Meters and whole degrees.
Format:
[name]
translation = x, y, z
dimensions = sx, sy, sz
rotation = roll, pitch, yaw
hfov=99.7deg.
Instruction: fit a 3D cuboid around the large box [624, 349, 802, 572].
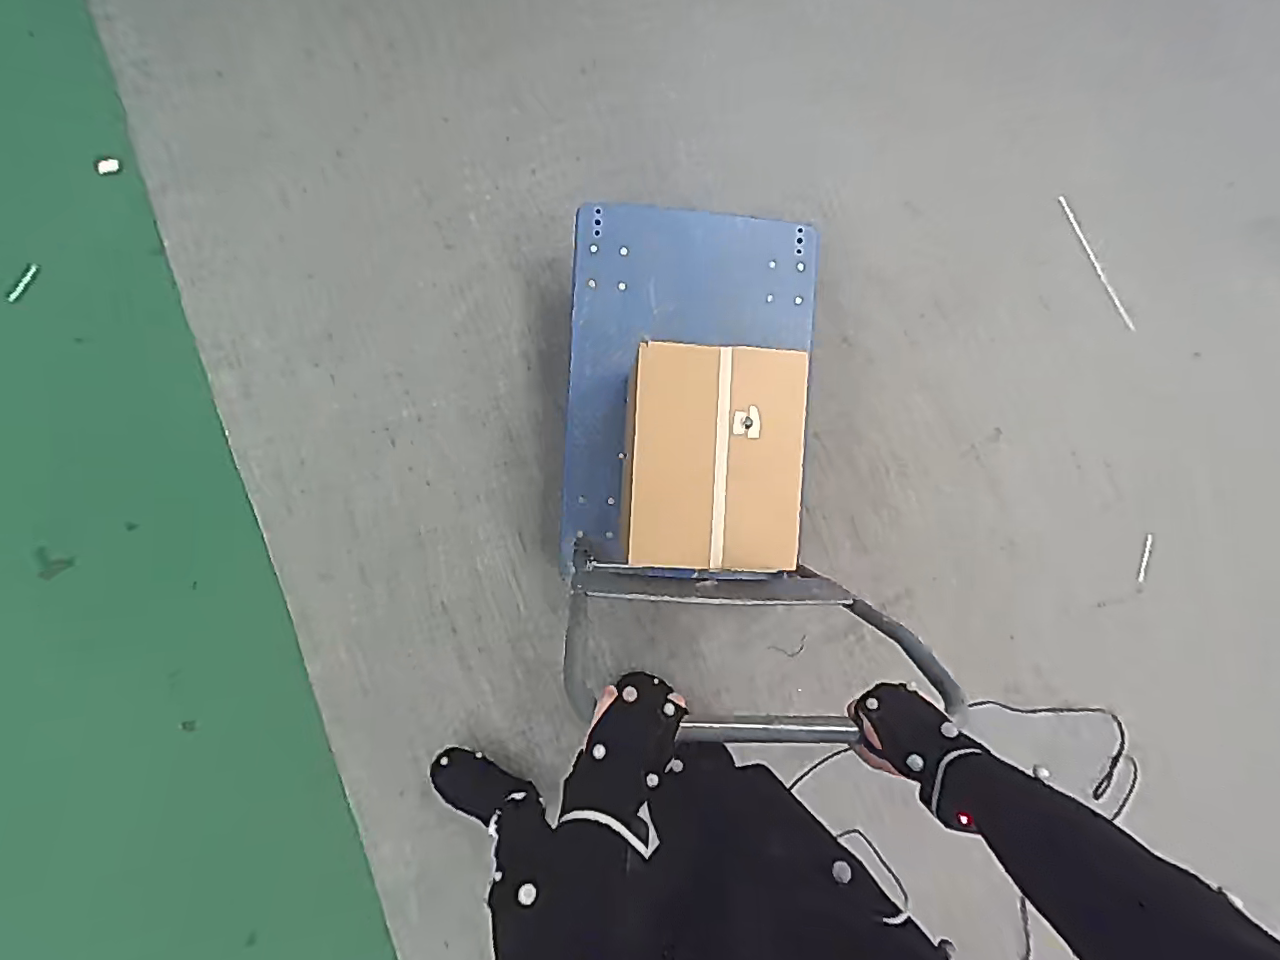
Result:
[large box]
translation = 0.129, -0.031, 1.128
dimensions = 0.320, 0.320, 0.408
rotation = 3, 90, -5
